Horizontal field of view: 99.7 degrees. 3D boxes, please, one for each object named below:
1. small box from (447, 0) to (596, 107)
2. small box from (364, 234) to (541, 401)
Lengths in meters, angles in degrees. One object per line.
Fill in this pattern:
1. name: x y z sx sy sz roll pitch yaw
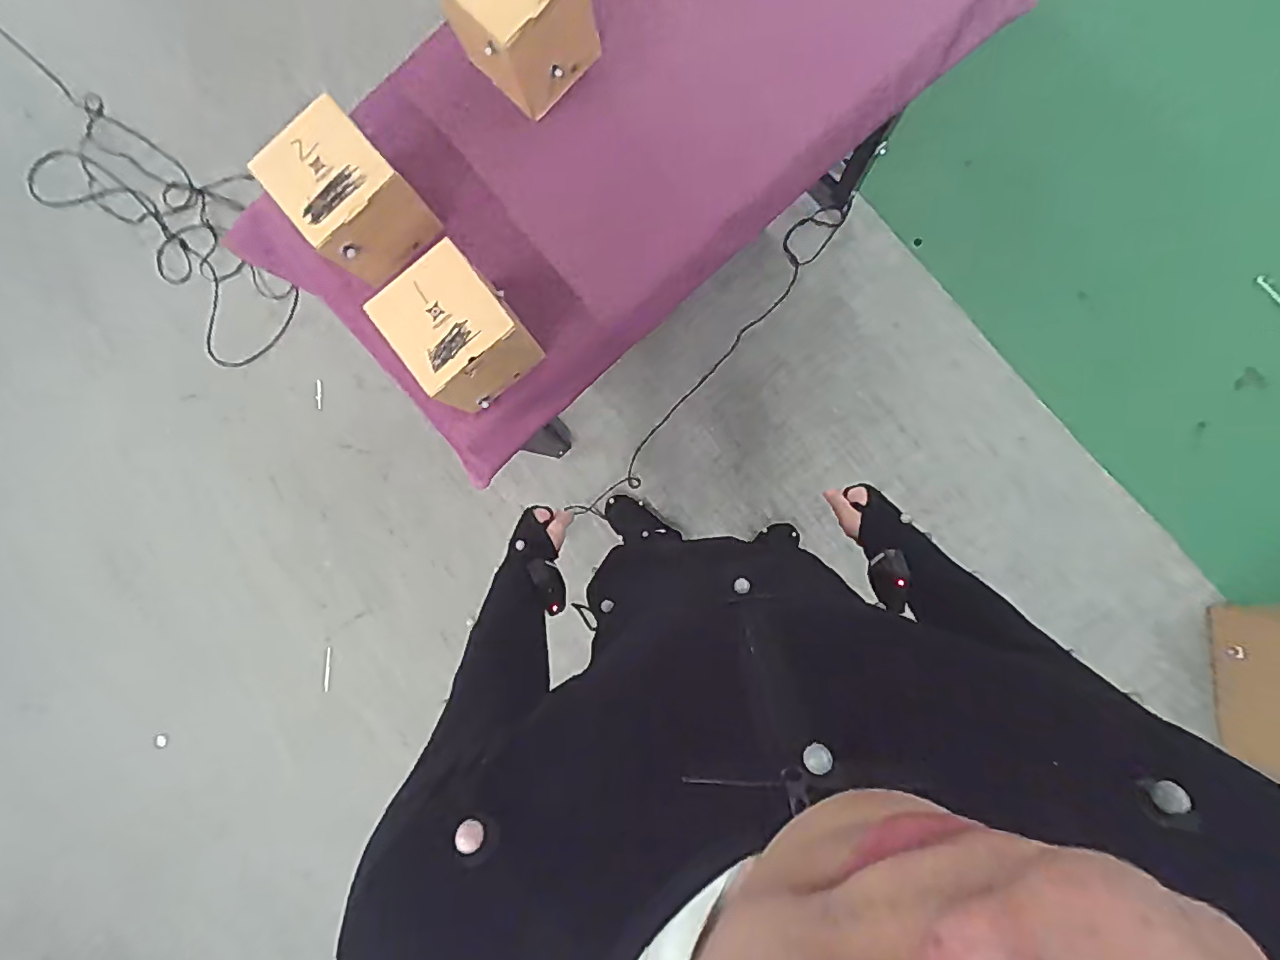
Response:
1. small box: -0.193 -0.752 0.857 0.179 0.176 0.168 45 93 2
2. small box: -0.284 -0.242 0.861 0.168 0.176 0.179 -38 85 3
